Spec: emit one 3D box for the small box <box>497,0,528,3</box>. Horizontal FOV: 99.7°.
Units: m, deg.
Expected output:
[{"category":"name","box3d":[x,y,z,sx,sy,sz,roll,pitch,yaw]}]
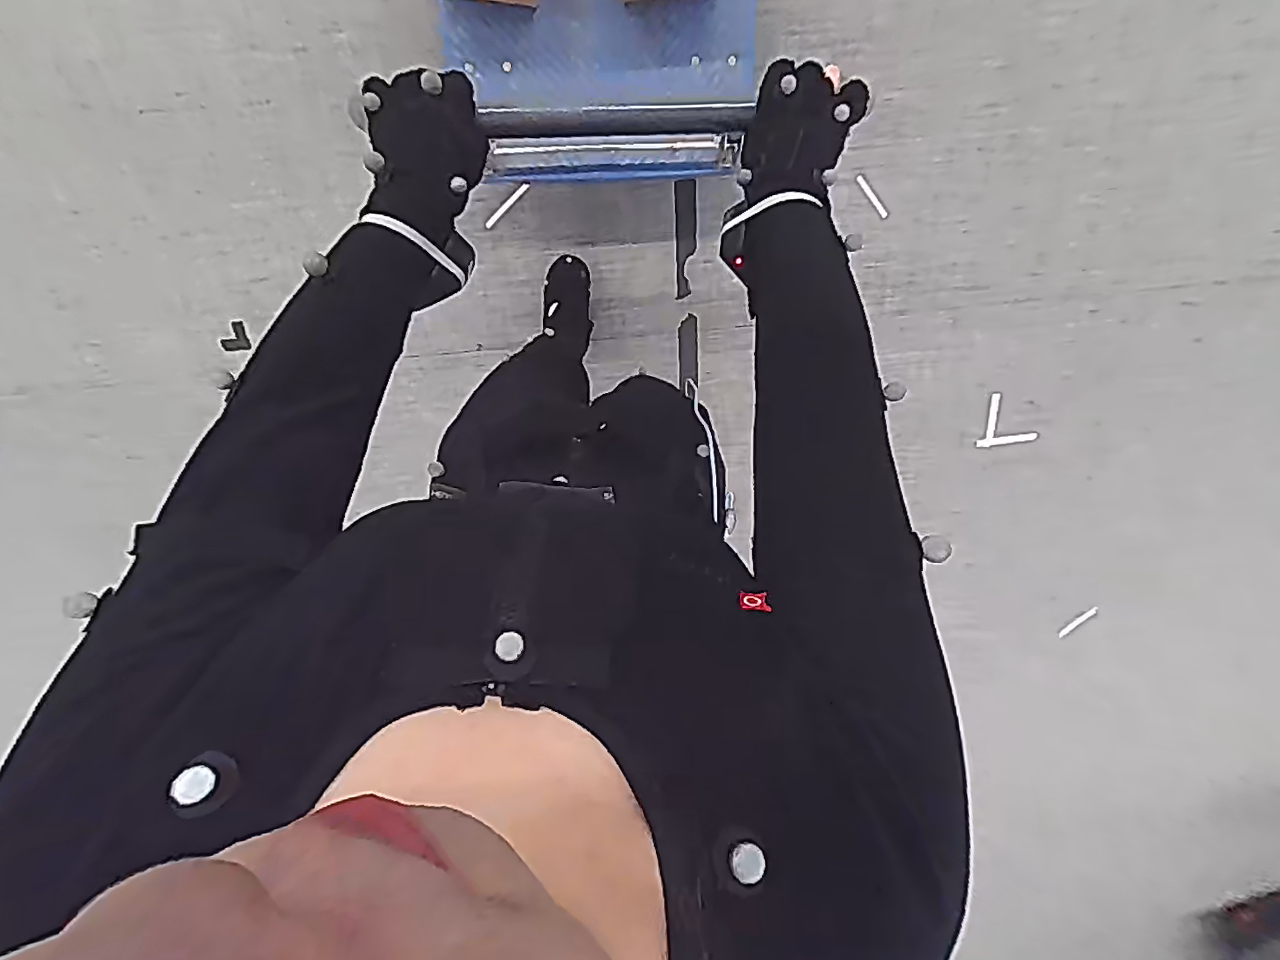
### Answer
[{"category":"small box","box3d":[-0.261,-0.887,0.845,0.179,0.176,0.168,2,114,-6]}]
